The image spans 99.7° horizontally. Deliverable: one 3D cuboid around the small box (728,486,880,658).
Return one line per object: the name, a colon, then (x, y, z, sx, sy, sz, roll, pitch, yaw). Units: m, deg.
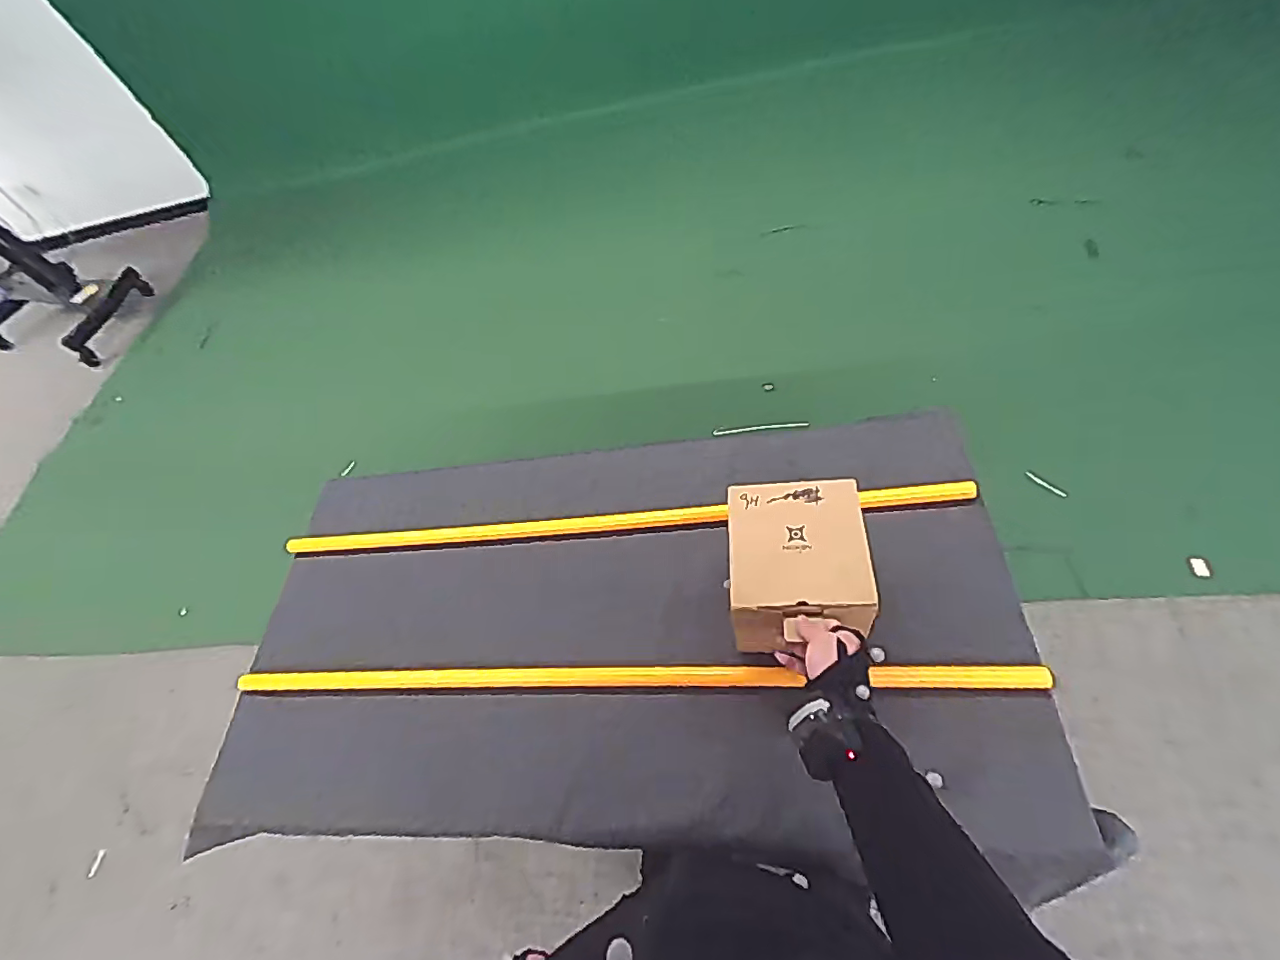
small box: (0.215, 0.133, 0.731, 0.168, 0.176, 0.179, -7, 53, 12)
